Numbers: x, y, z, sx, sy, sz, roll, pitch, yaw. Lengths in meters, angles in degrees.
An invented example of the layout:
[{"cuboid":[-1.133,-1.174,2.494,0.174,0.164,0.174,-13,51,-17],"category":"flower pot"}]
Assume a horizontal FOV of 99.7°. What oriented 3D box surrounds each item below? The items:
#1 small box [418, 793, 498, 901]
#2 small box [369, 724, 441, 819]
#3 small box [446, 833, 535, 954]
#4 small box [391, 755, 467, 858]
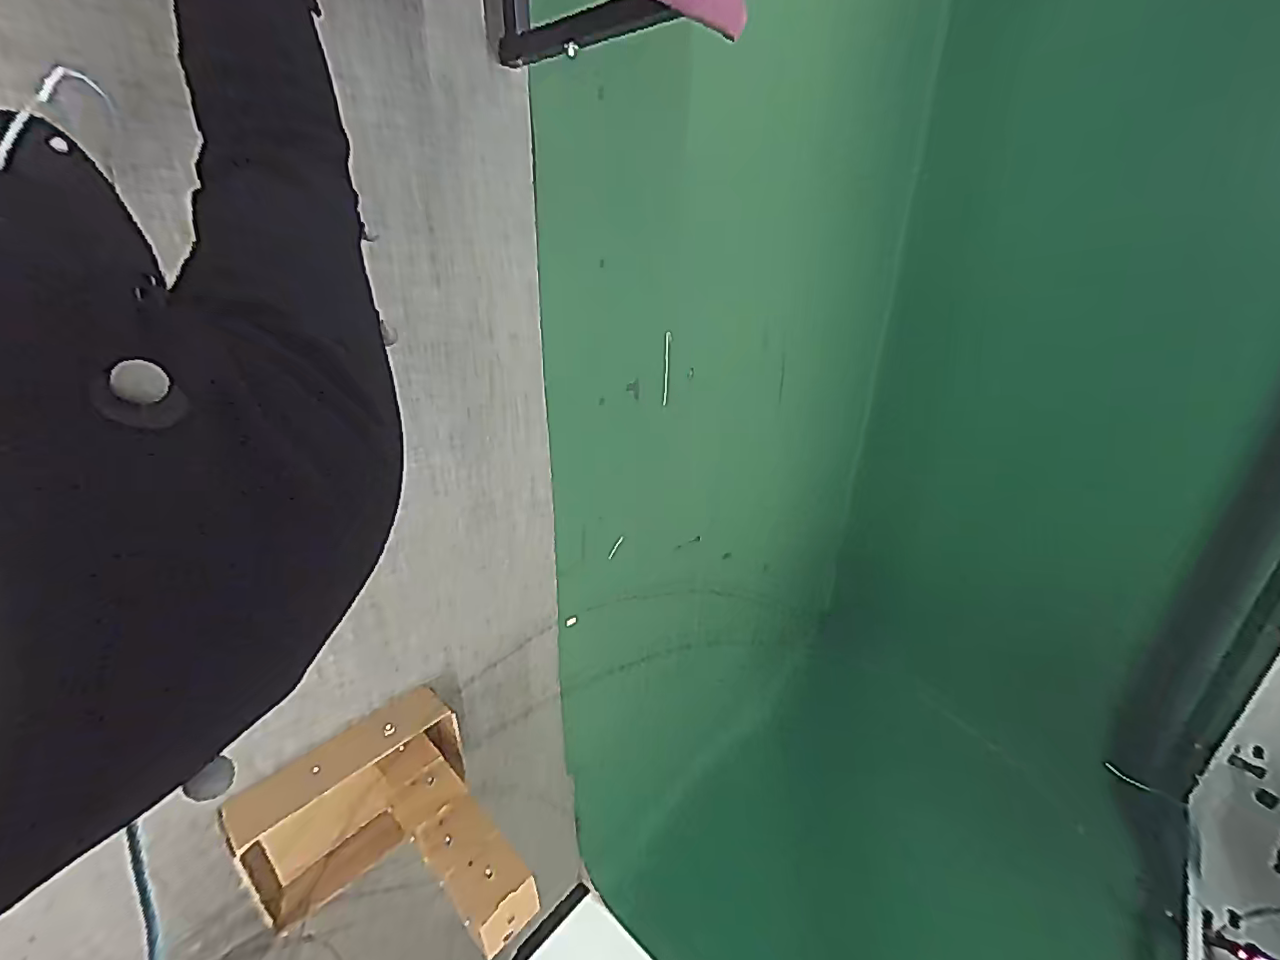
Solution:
[{"cuboid":[-0.526,1.058,1.575,0.168,0.176,0.179,-25,127,-39],"category":"small box"},{"cuboid":[-0.762,0.947,1.771,0.168,0.176,0.179,-23,125,-42],"category":"small box"},{"cuboid":[-0.409,1.113,1.475,0.168,0.176,0.179,-25,125,-38],"category":"small box"},{"cuboid":[-0.645,1.001,1.672,0.168,0.176,0.179,-24,125,-40],"category":"small box"}]
